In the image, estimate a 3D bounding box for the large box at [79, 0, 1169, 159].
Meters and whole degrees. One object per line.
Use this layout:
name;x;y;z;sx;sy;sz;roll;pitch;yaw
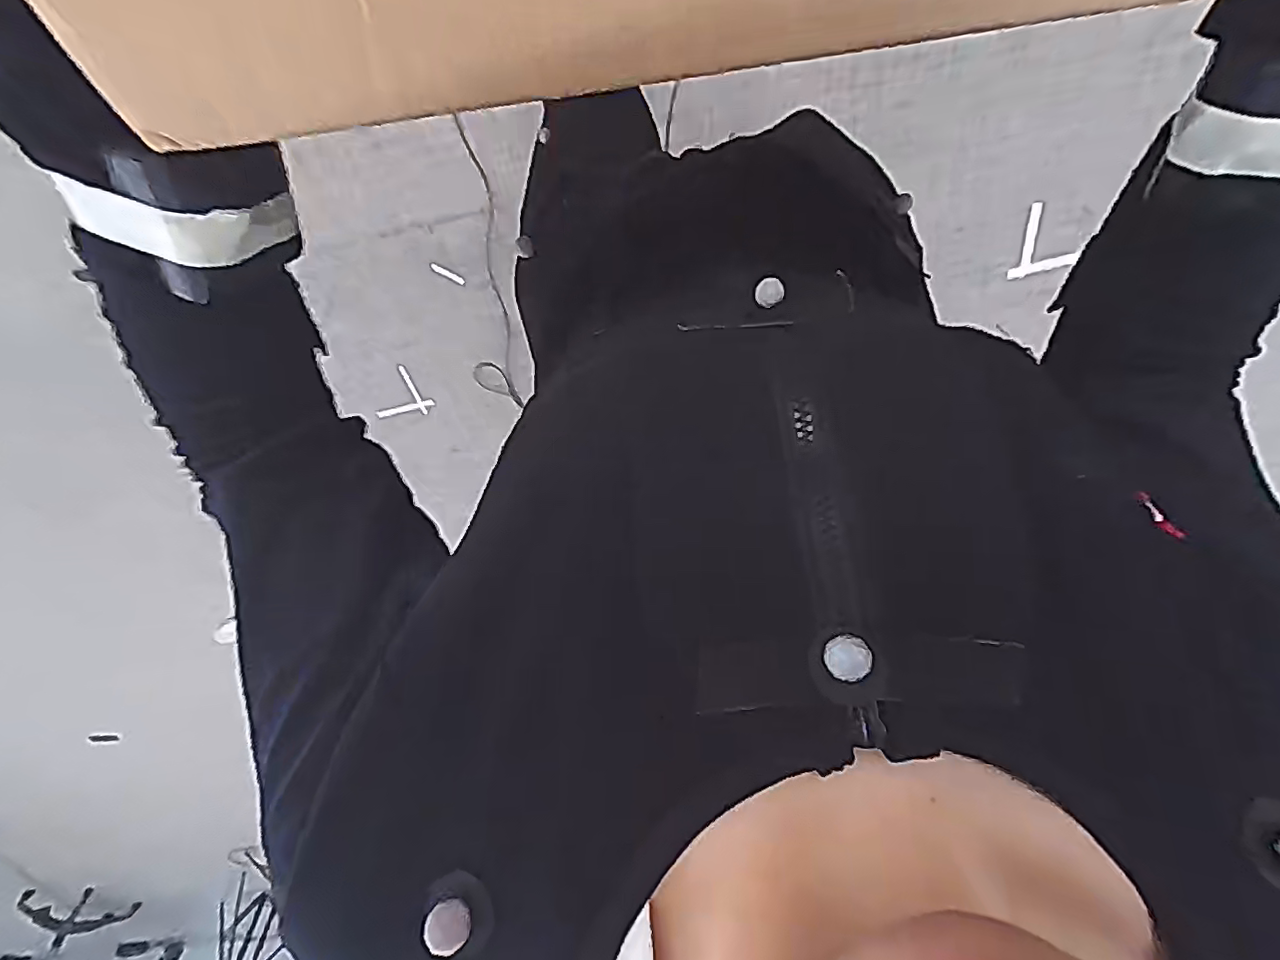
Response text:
large box;0.010;-0.349;0.146;0.408;0.320;0.320;-8;144;1
